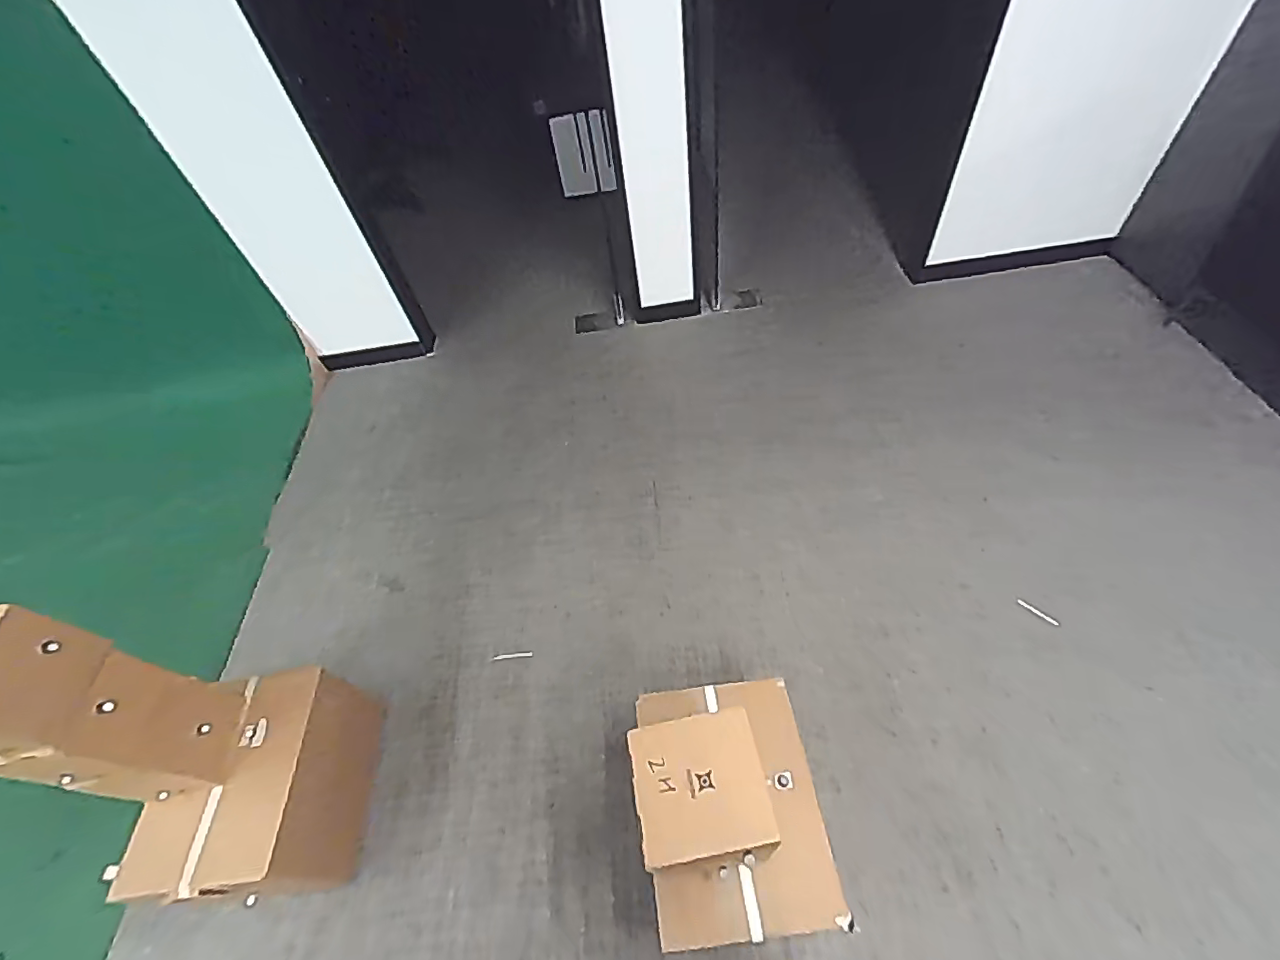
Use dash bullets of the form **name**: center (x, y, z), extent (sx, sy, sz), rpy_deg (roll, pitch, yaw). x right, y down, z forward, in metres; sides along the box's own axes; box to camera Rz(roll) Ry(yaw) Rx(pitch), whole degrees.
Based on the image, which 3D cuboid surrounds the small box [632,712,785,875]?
- **small box**: center (0.095, 0.455, 0.780), extent (0.179, 0.176, 0.168), rpy_deg (-13, 51, 1)

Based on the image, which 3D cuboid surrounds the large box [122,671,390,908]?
- **large box**: center (-0.828, 0.711, 1.246), extent (0.320, 0.320, 0.408), rpy_deg (-9, 51, 3)

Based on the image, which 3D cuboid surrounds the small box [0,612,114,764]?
- **small box**: center (-0.996, 0.329, 0.843), extent (0.168, 0.176, 0.179), rpy_deg (-10, 53, 6)

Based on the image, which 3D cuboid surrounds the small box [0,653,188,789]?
- **small box**: center (-0.972, 0.433, 0.967), extent (0.168, 0.176, 0.179), rpy_deg (-11, 52, 4)
